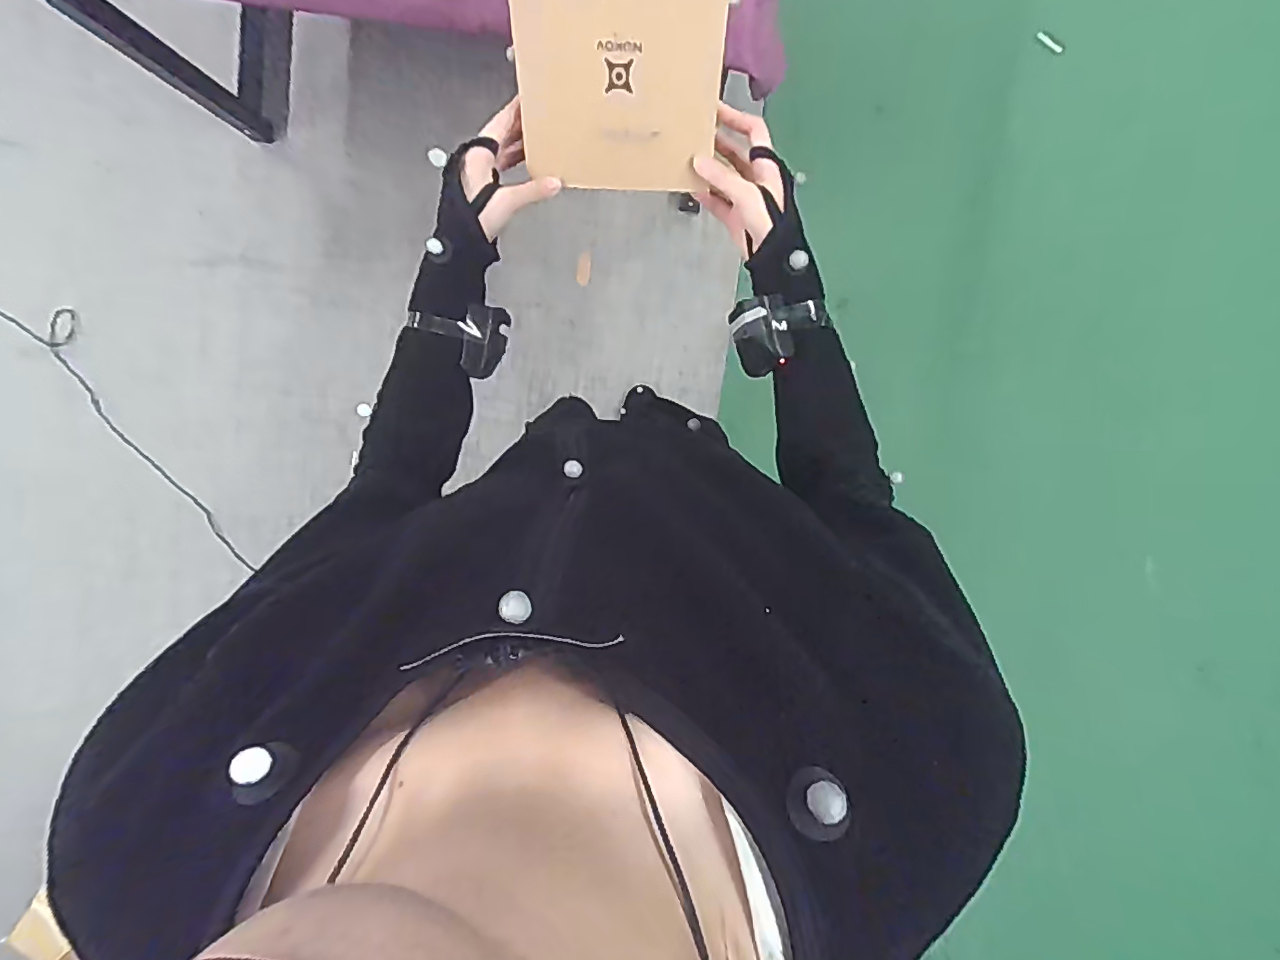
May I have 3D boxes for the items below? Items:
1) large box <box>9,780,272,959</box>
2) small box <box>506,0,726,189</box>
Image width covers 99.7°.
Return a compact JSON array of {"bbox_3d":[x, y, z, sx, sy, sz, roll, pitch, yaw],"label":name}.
[{"bbox_3d":[-1.384,1.167,1.537,0.408,0.320,0.320,37,97,-2],"label":"large box"},{"bbox_3d":[-0.018,-0.380,0.479,0.168,0.176,0.179,3,133,0],"label":"small box"}]
